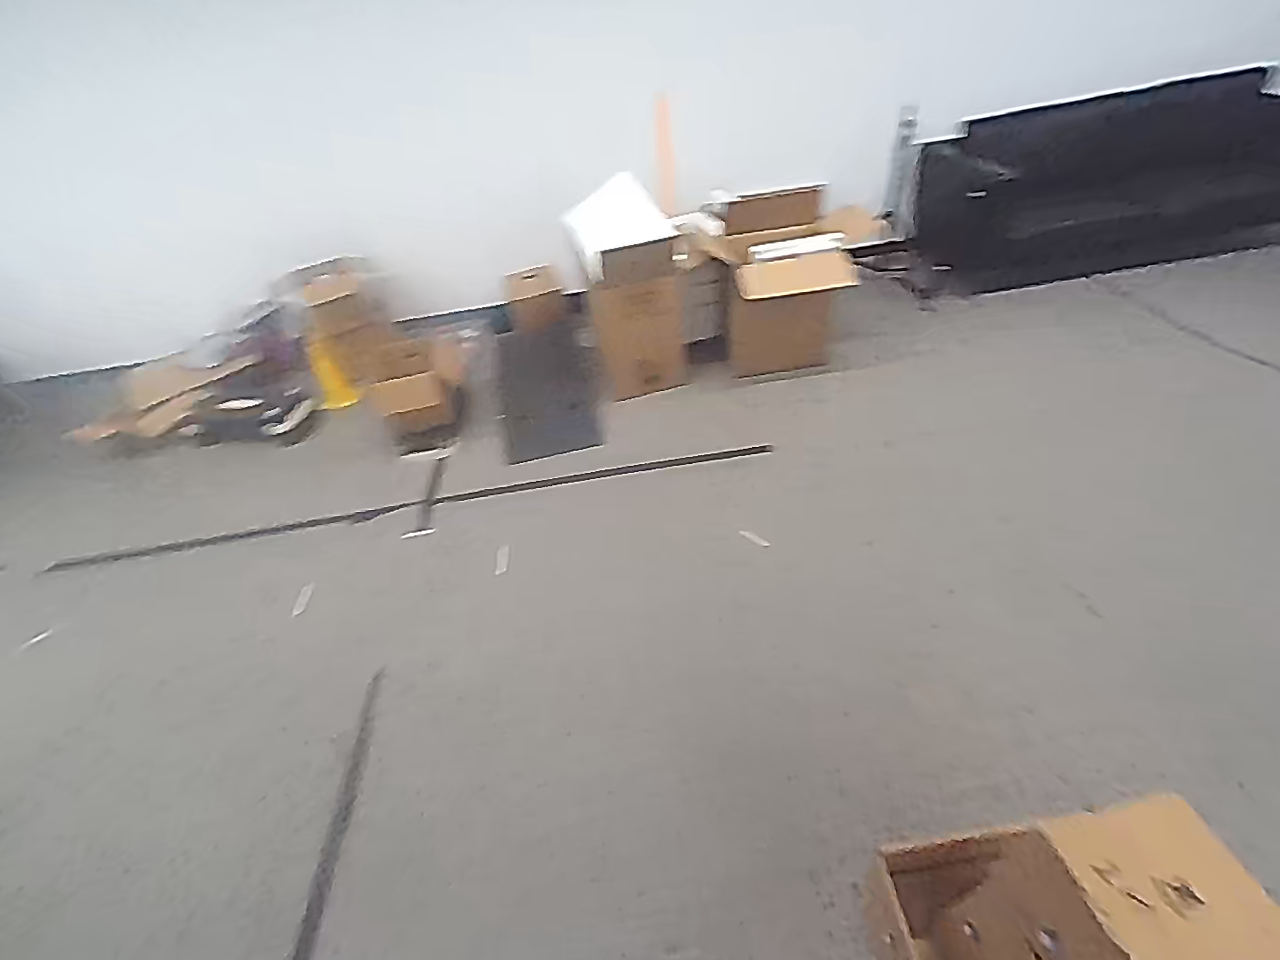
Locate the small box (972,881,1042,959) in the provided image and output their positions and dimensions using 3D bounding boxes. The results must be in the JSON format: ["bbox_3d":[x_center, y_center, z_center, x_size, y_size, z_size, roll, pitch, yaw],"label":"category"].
[{"bbox_3d":[0.564,0.621,0.695,0.179,0.176,0.168,-9,41,-4],"label":"small box"}]

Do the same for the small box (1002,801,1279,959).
[{"bbox_3d":[0.553,0.488,0.596,0.179,0.176,0.168,-11,41,-5],"label":"small box"}]
